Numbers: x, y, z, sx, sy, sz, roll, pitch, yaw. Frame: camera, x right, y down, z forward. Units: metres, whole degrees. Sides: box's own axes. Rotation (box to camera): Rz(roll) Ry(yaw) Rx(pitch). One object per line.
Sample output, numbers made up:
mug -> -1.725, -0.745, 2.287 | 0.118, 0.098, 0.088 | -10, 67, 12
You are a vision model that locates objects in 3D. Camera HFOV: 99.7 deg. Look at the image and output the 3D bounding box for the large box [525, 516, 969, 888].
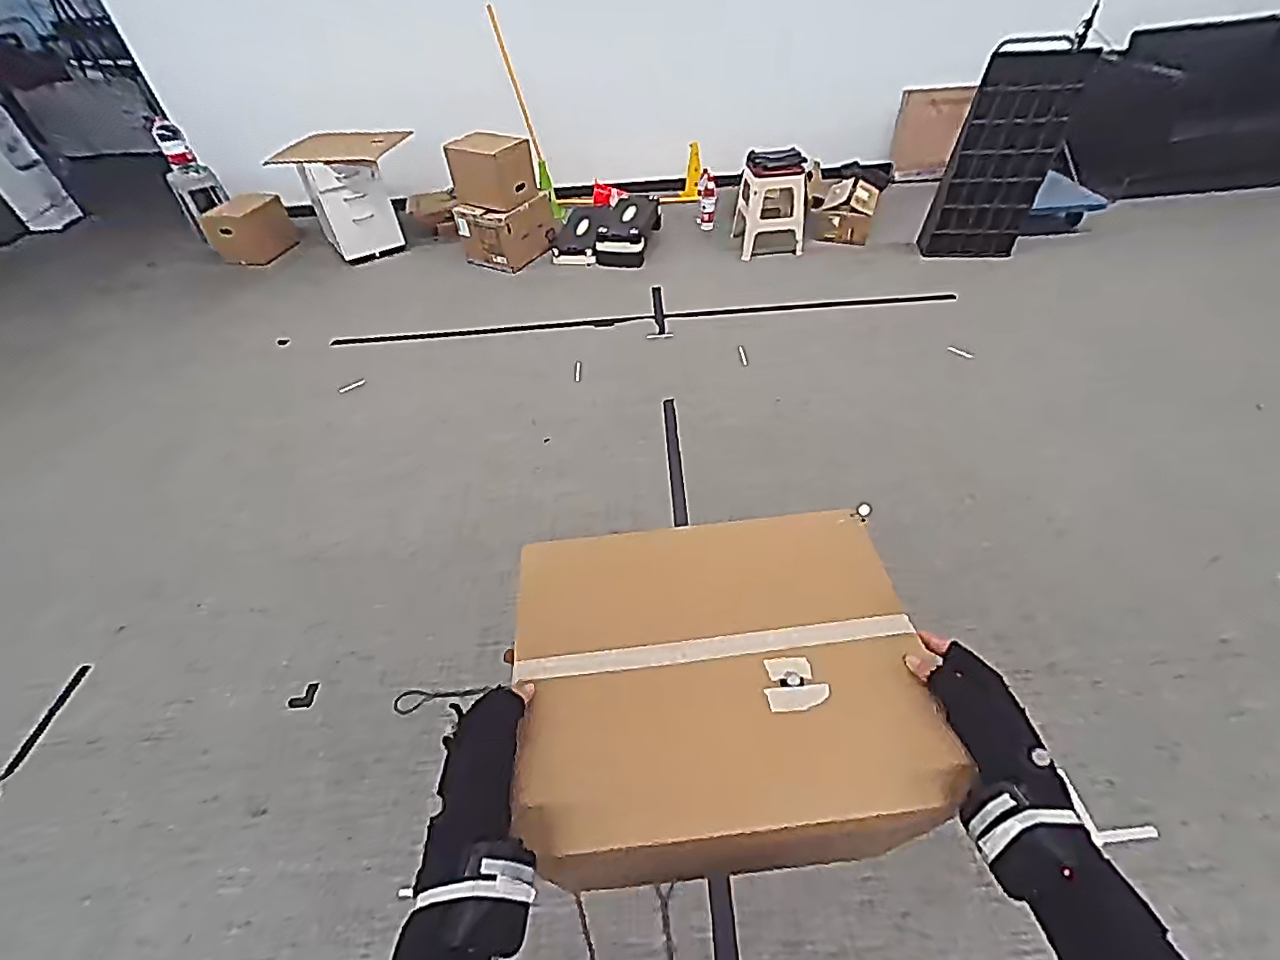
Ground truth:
large box -> 0.086, 0.279, 0.676 | 0.408, 0.320, 0.320 | -6, 49, -2
